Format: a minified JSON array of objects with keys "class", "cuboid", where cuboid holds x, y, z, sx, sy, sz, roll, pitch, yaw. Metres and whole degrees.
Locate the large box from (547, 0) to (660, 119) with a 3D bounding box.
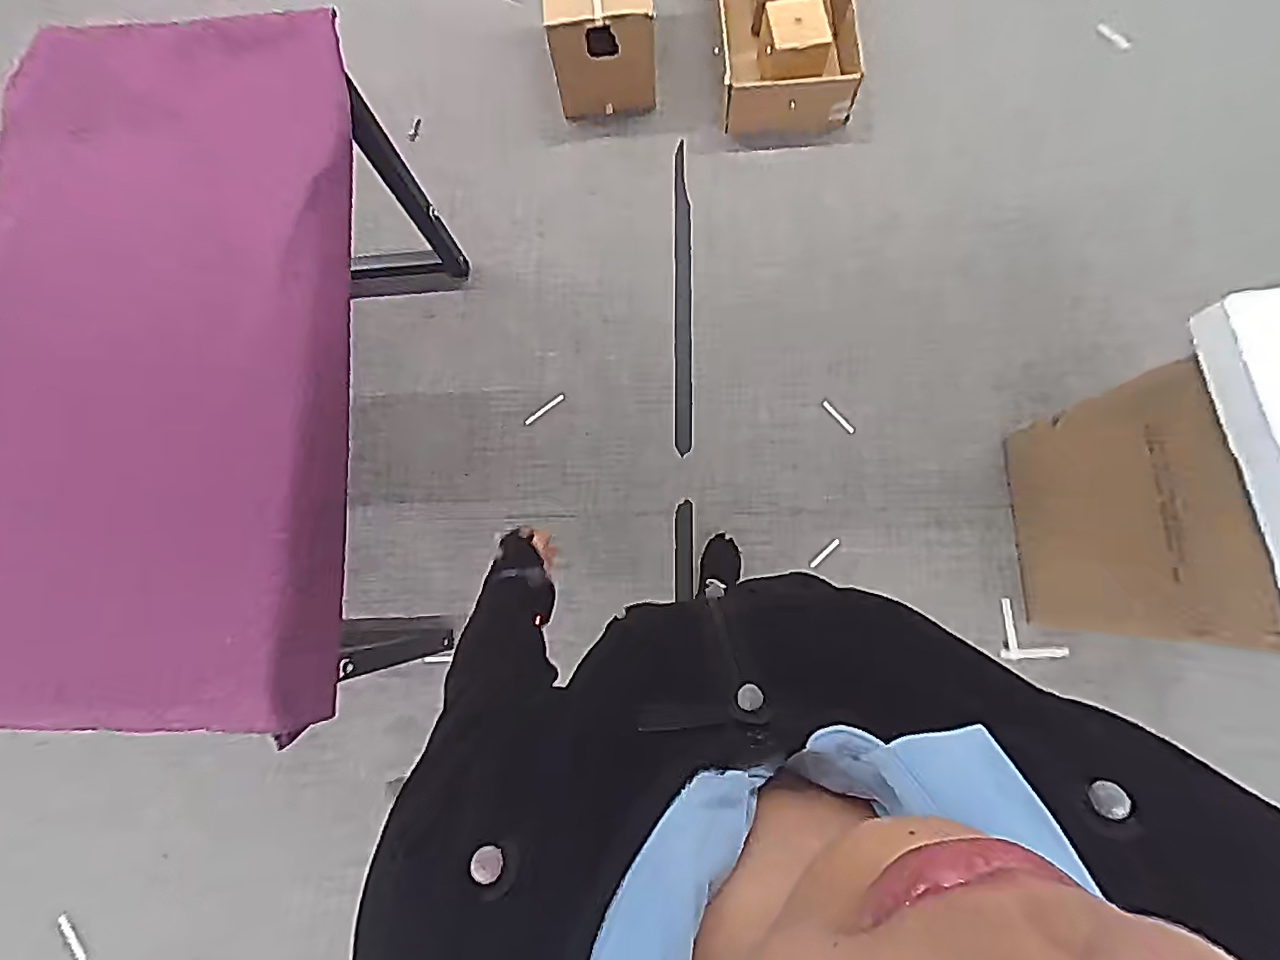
[{"class":"large box","cuboid":[-0.110,-1.432,1.682,0.320,0.320,0.408,-5,80,3]}]
